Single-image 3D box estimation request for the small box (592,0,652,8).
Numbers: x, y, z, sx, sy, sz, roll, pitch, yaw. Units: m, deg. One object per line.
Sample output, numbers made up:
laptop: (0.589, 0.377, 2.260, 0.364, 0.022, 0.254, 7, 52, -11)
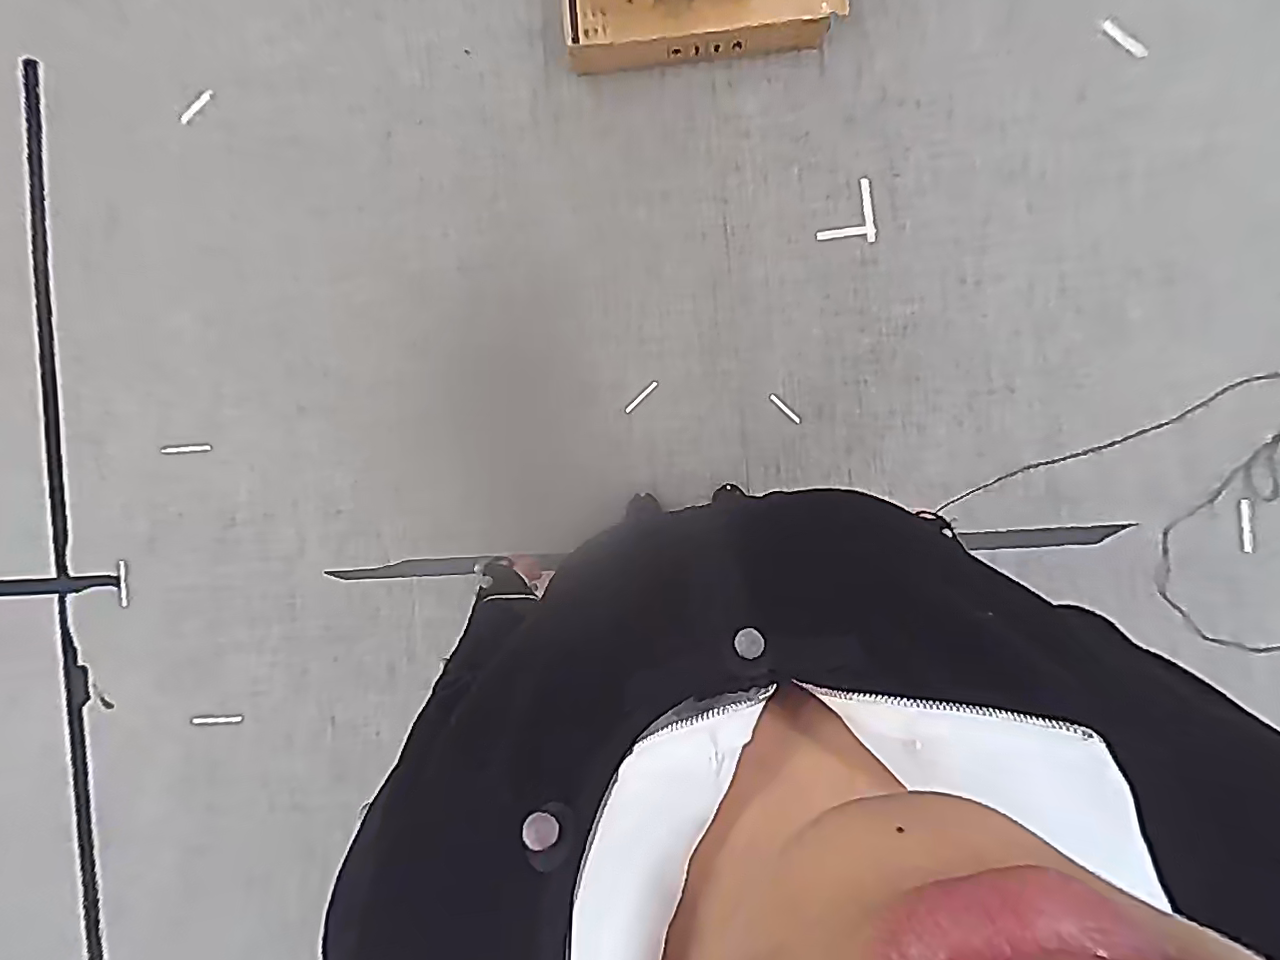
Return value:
small box: (-0.054, -1.322, 1.340, 0.168, 0.176, 0.179, -3, 91, 4)
